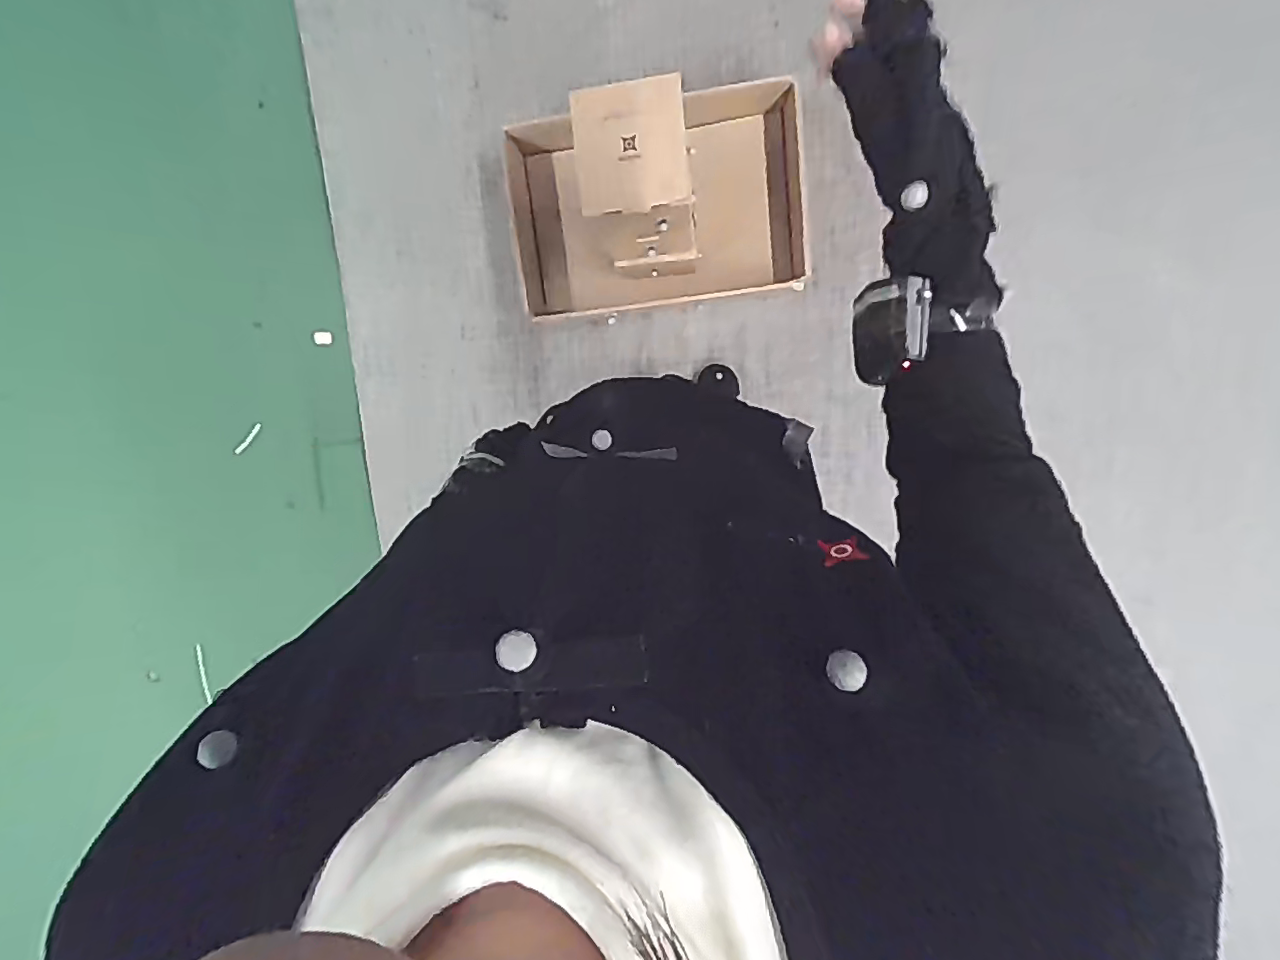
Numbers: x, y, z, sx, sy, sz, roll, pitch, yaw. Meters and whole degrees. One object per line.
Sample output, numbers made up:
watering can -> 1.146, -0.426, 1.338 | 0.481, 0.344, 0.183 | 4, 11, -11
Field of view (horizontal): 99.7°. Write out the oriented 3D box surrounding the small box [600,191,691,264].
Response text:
small box -> 0.008, -0.534, 1.059 | 0.168, 0.176, 0.179 | -7, 99, 8

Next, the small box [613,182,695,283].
small box -> 0.033, -0.548, 1.217 | 0.179, 0.176, 0.168 | -2, 99, 8

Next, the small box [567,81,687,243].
small box -> -0.011, -0.500, 0.881 | 0.168, 0.176, 0.179 | -5, 99, 6
